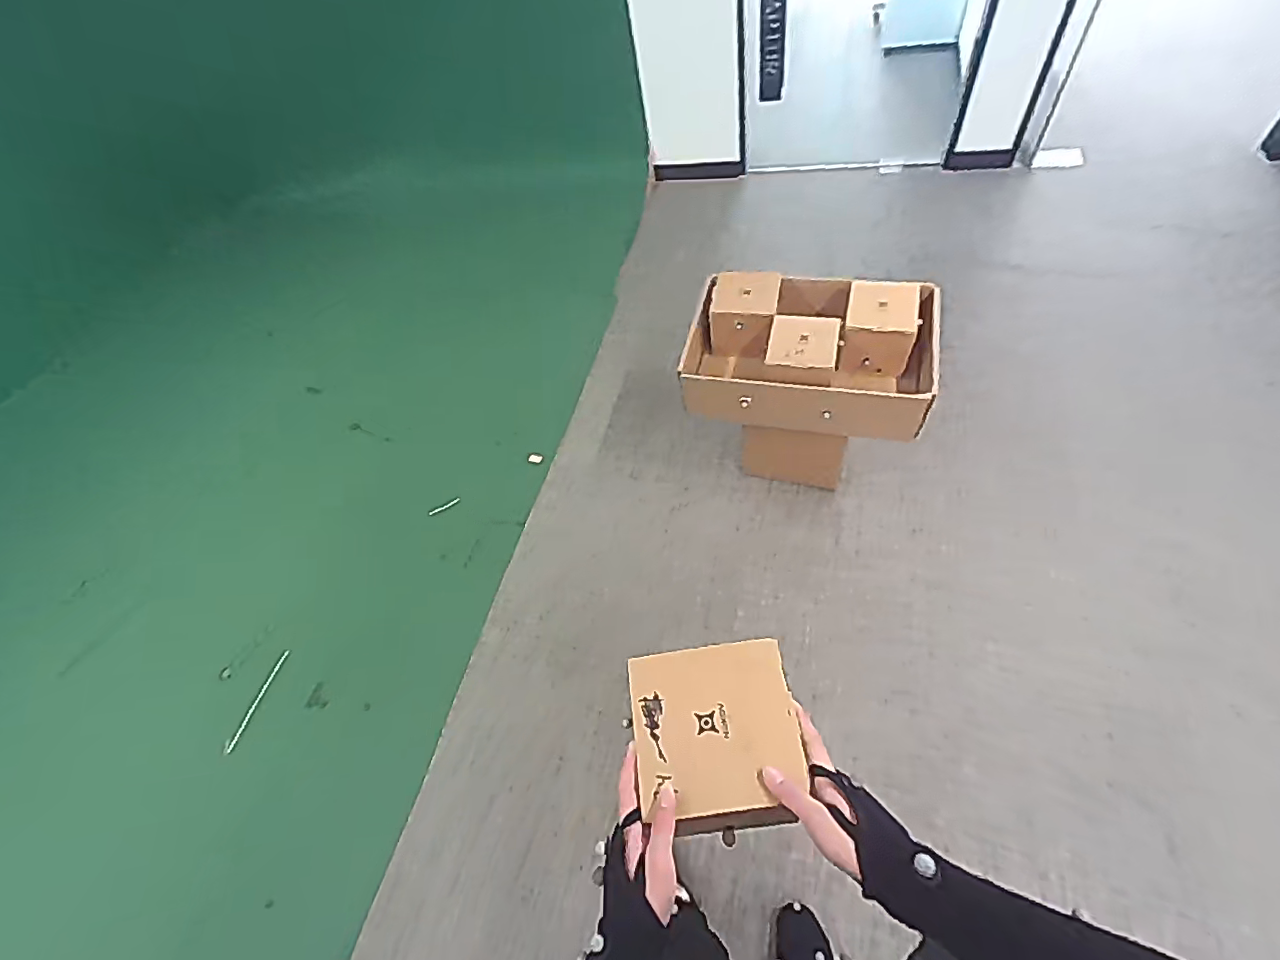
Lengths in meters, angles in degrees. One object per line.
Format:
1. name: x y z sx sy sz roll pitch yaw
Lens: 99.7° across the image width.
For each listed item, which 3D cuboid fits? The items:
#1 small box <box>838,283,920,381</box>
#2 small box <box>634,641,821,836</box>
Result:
1. small box: 0.628 -0.391 1.431 0.168 0.176 0.179 10 61 17
2. small box: 0.090 0.305 0.632 0.179 0.176 0.168 -7 51 1
